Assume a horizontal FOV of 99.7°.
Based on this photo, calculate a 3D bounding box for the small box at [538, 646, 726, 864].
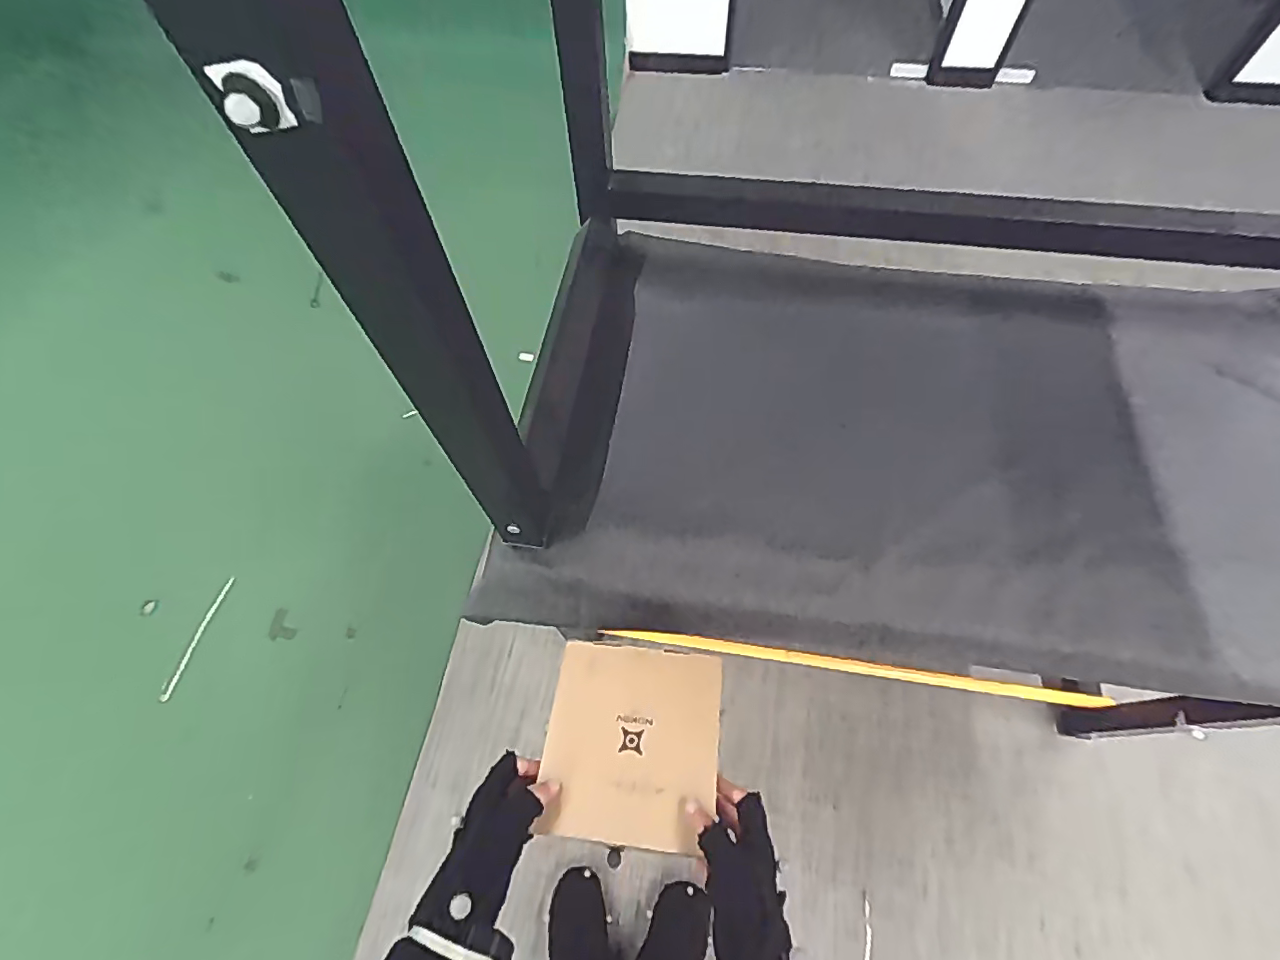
[{"bbox_3d":[0.001,0.301,0.588,0.168,0.176,0.179,3,55,7],"label":"small box"}]
